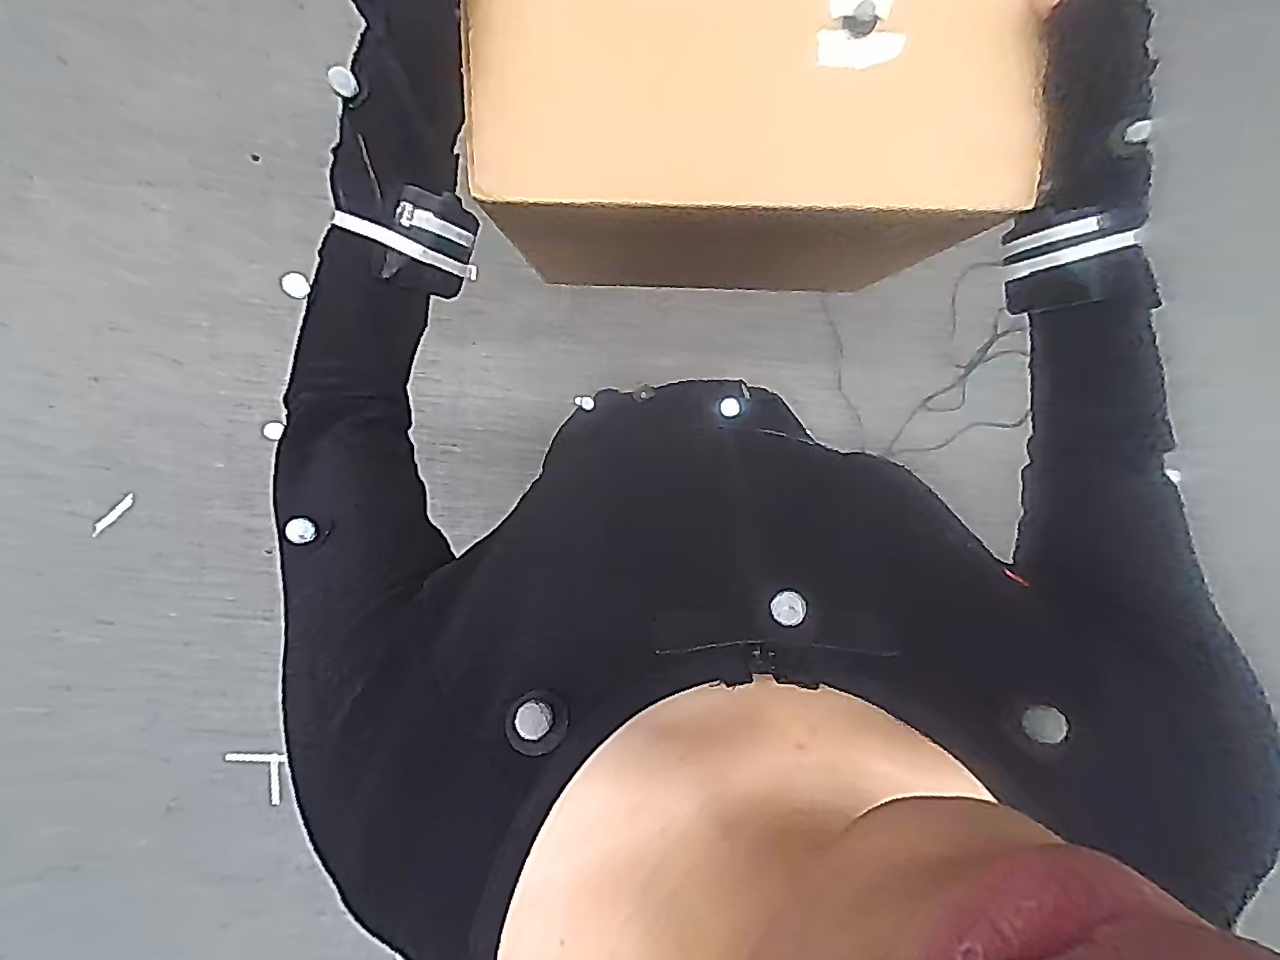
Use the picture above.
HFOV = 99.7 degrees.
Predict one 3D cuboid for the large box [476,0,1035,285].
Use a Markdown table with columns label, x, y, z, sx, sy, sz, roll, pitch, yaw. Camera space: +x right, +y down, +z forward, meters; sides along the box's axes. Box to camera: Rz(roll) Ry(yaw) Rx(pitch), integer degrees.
| label | x | y | z | sx | sy | sz | roll | pitch | yaw |
| --- | --- | --- | --- | --- | --- | --- | --- | --- | --- |
| large box | 0.078 | -0.382 | 0.525 | 0.408 | 0.320 | 0.320 | 1 | 99 | -1 |
